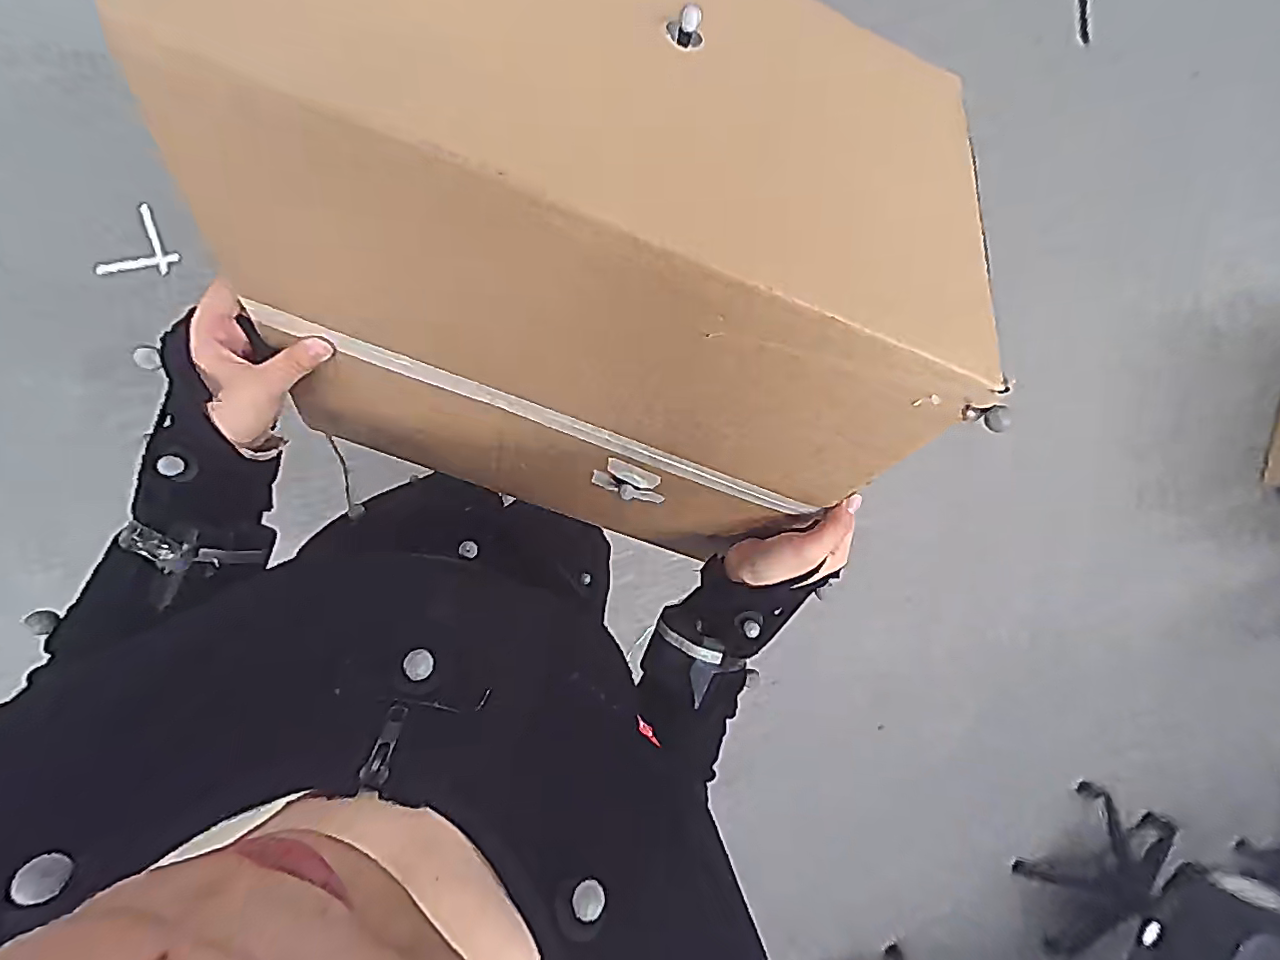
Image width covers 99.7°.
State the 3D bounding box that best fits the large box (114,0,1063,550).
[{"bbox_3d":[-0.012,-0.187,0.410,0.408,0.320,0.320,18,62,-8],"label":"large box"}]
